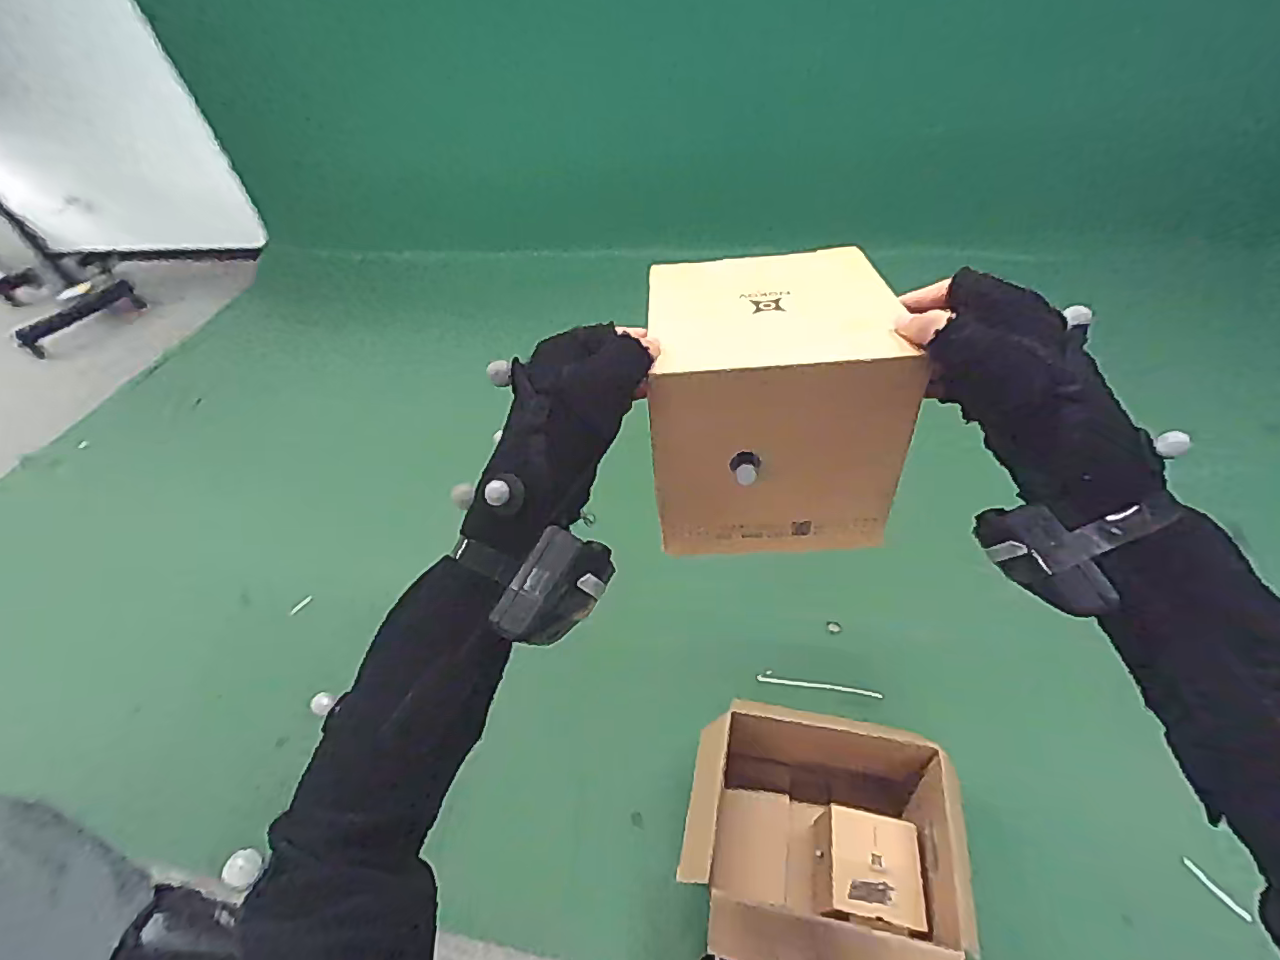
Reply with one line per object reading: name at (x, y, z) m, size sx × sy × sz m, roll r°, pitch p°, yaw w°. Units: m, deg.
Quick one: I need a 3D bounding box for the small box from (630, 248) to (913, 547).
small box at (0.086, -0.060, 0.424) m, size 0.168 × 0.176 × 0.179 m, roll -4°, pitch 41°, yaw 5°
